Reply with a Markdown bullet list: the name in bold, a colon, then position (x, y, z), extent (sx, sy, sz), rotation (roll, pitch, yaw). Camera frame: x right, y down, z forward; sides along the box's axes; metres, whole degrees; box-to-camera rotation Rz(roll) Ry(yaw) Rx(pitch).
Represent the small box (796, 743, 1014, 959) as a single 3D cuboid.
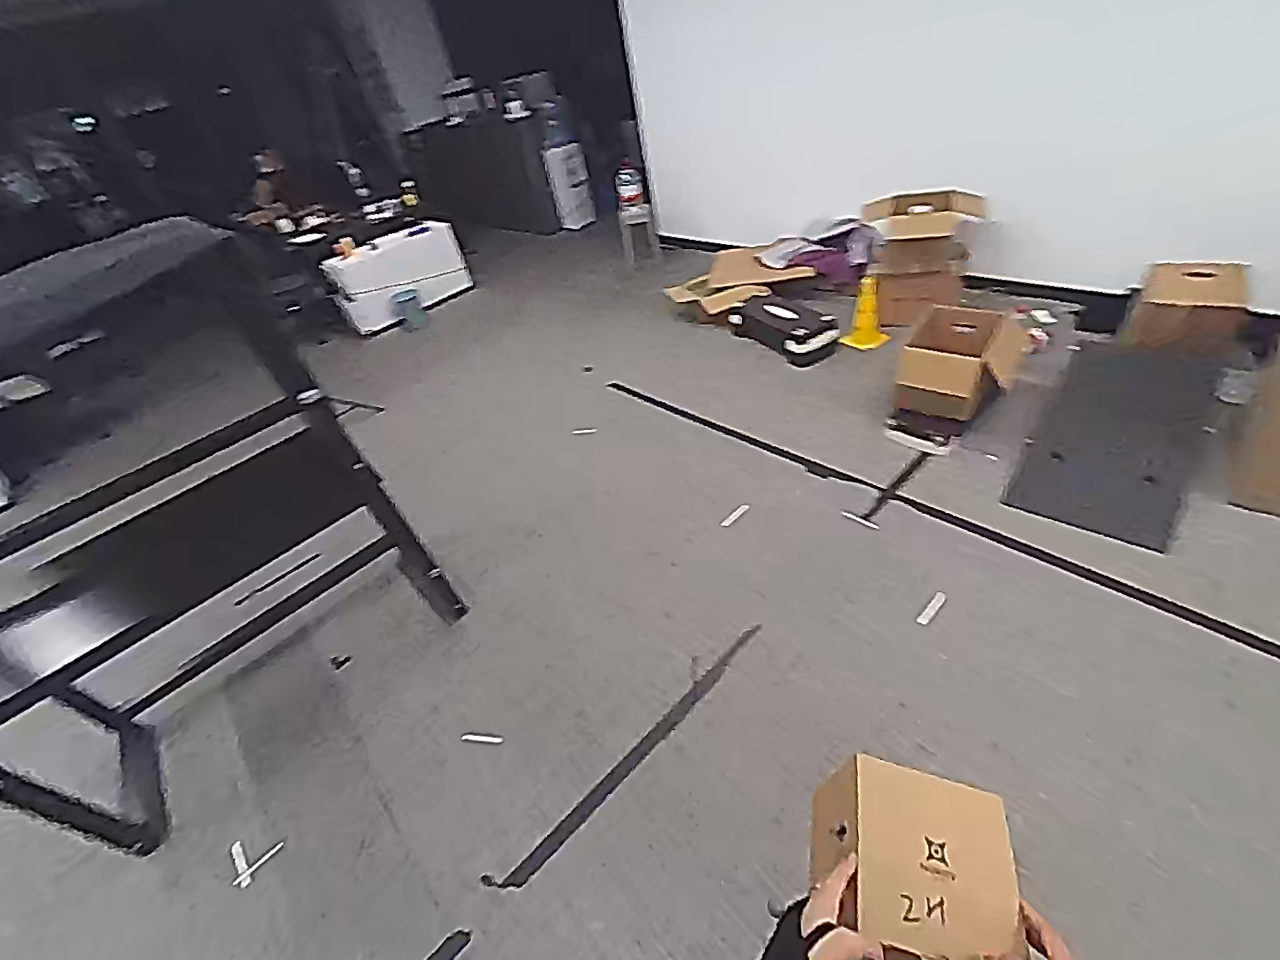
- **small box**: position (0.288, 0.444, 0.630), extent (0.168, 0.176, 0.179), rotation (14, 47, 7)
